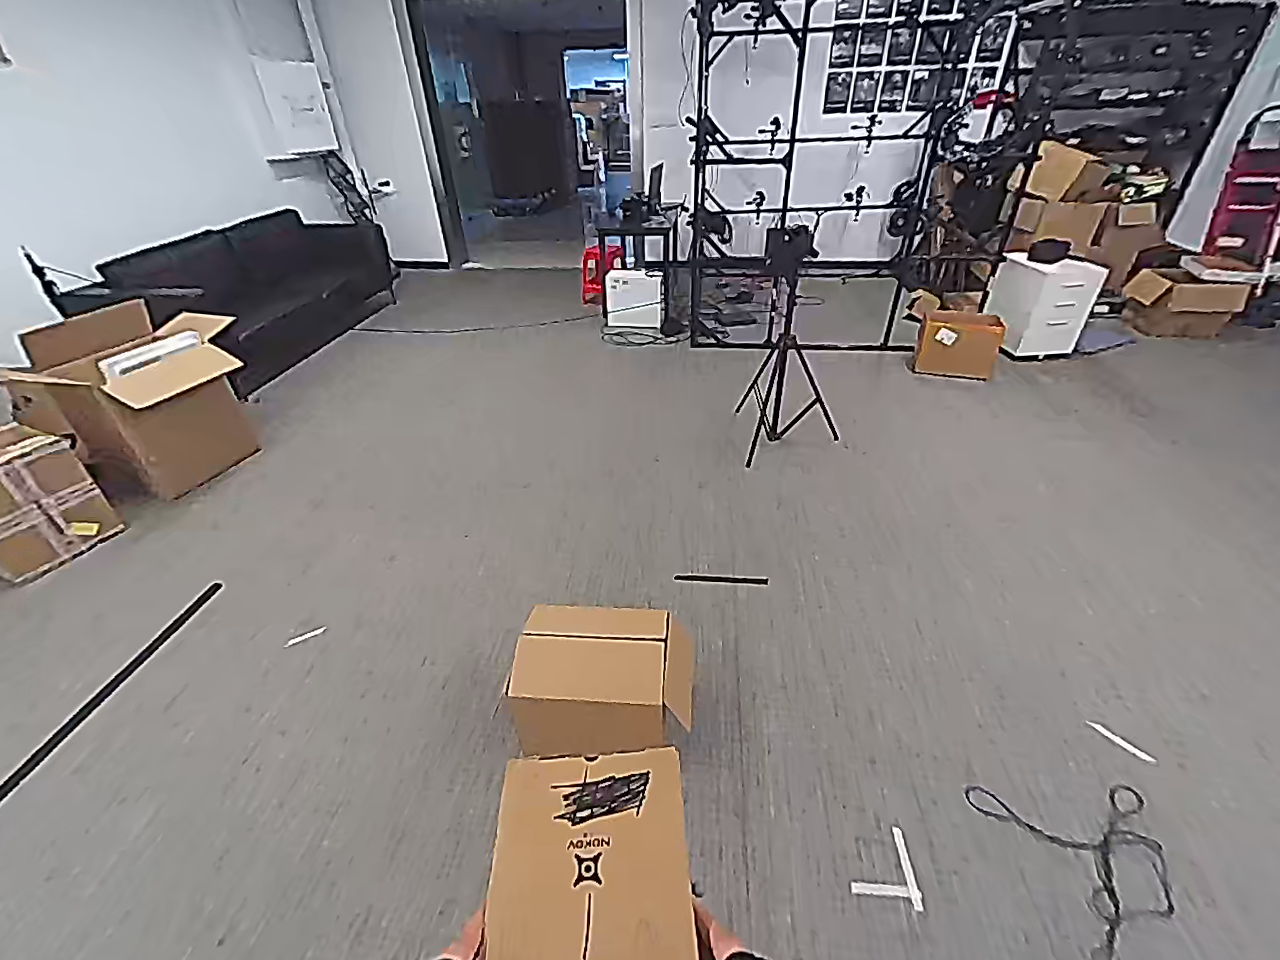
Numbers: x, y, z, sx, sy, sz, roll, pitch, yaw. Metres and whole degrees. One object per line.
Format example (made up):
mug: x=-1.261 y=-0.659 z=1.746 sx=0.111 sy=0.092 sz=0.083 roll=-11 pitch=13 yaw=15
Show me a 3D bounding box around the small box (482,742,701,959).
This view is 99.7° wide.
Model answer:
small box: x=-0.036 y=0.377 z=0.506 sx=0.168 sy=0.176 sz=0.179 roll=-5 pitch=37 yaw=-1
